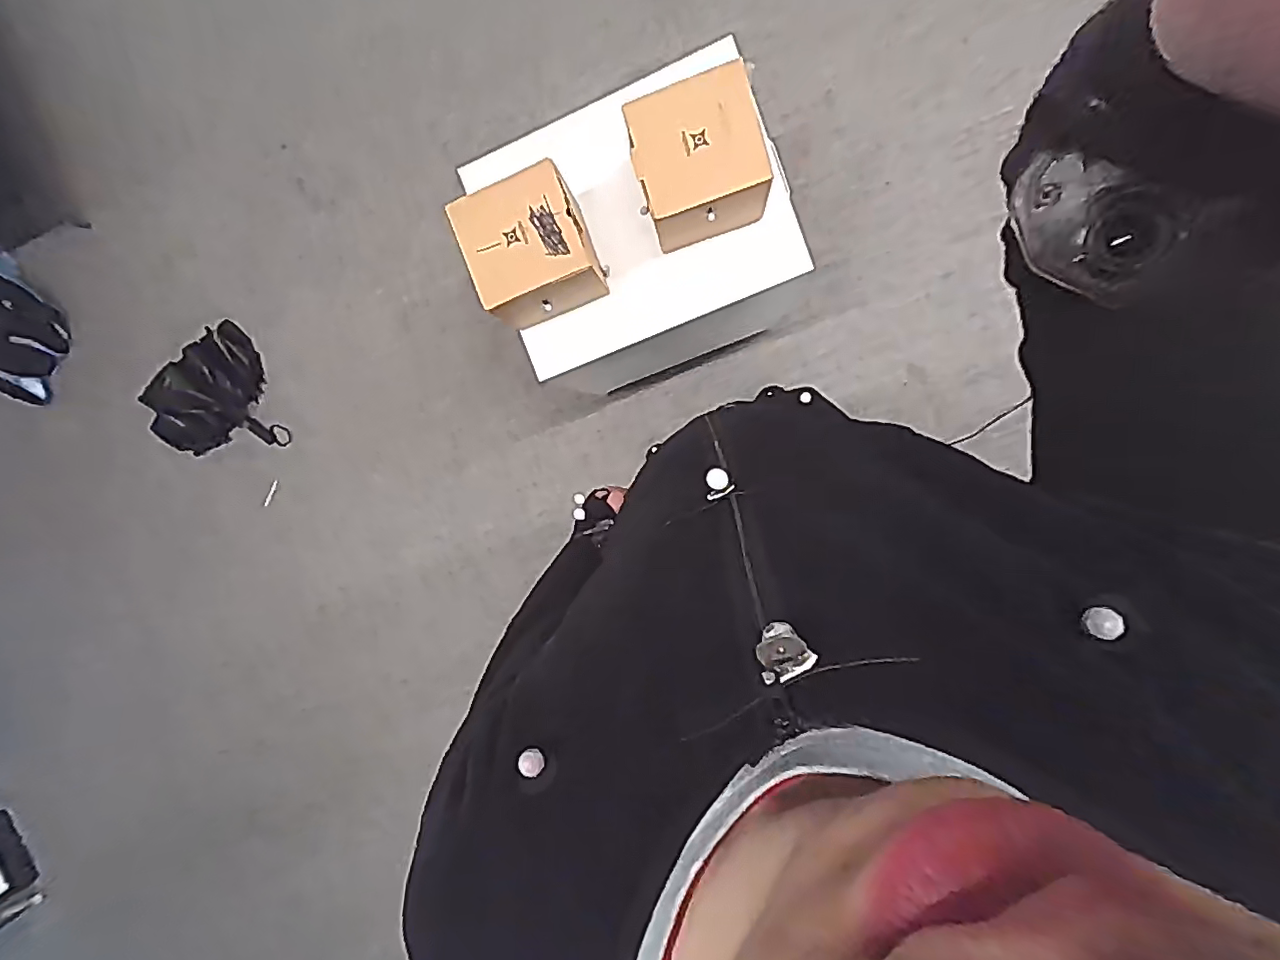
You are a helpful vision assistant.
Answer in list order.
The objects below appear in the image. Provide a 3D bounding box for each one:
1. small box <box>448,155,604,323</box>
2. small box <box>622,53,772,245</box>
[{"bbox_3d":[-0.167,-0.370,0.865,0.179,0.176,0.168,-20,93,9],"label":"small box"},{"bbox_3d":[0.088,-0.482,0.821,0.179,0.176,0.168,-16,96,9],"label":"small box"}]
